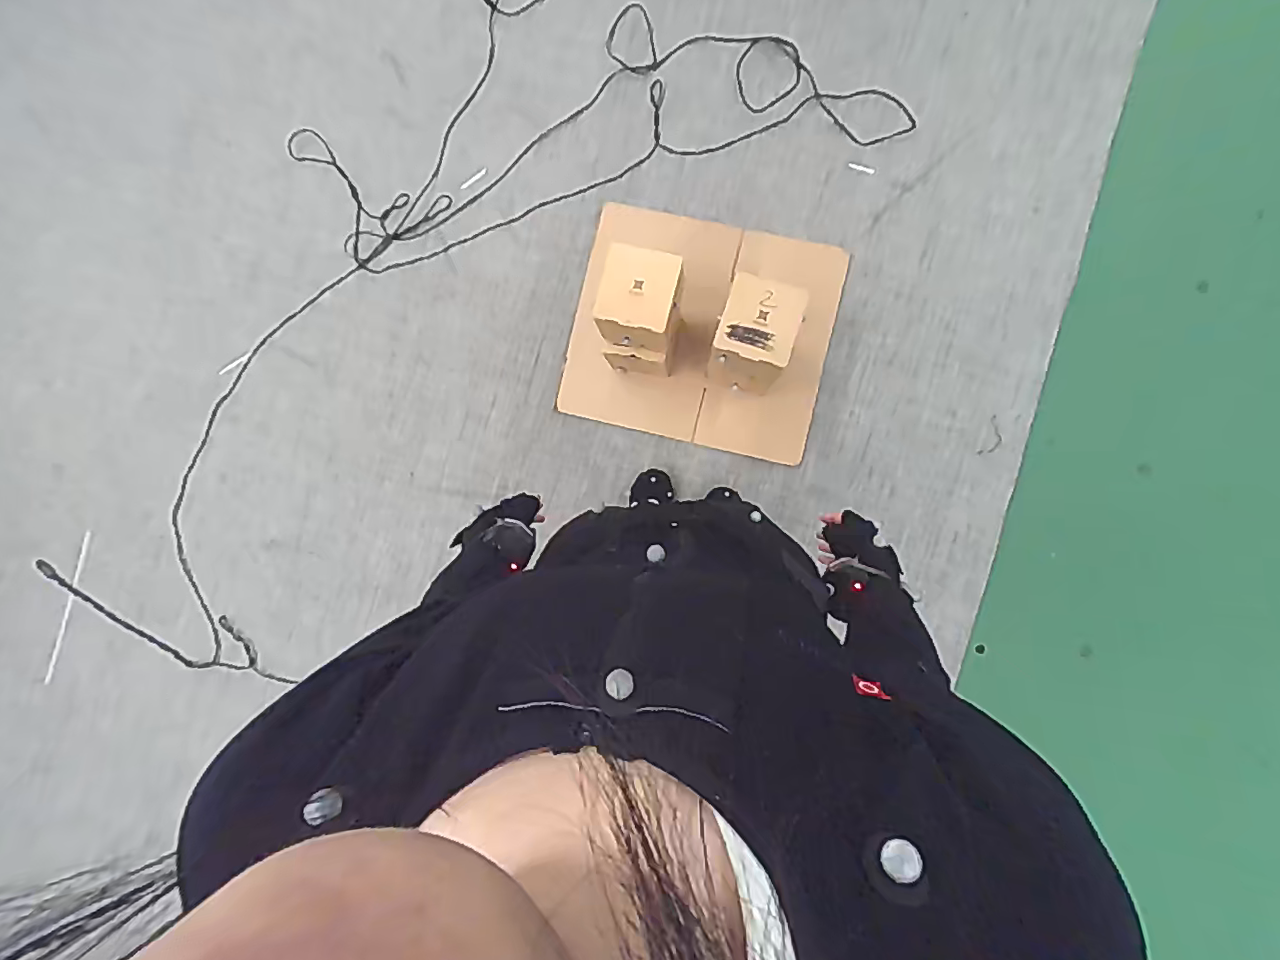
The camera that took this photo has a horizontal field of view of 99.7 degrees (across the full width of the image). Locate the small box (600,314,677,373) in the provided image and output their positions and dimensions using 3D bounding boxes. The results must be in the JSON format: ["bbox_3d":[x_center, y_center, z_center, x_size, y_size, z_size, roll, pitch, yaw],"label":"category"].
[{"bbox_3d":[0.003,-0.389,1.418,0.168,0.176,0.179,11,90,5],"label":"small box"}]

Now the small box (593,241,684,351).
[{"bbox_3d":[0.000,-0.419,1.255,0.168,0.176,0.179,14,90,5],"label":"small box"}]

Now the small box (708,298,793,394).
[{"bbox_3d":[0.276,-0.340,1.395,0.168,0.176,0.179,18,91,6],"label":"small box"}]
